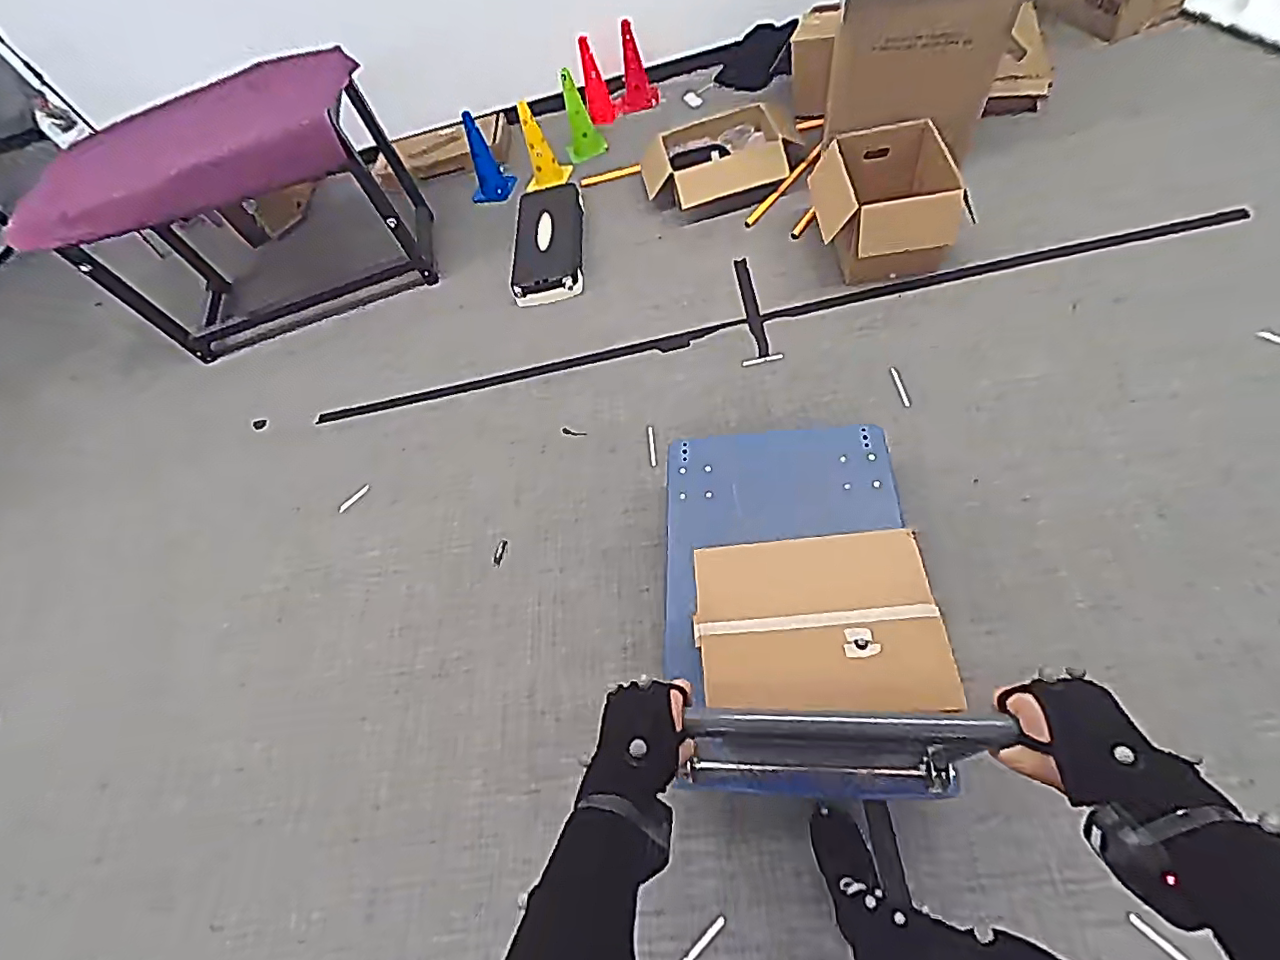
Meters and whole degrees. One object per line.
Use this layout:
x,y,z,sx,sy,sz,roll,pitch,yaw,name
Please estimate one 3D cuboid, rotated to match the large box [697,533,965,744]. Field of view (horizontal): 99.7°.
0.336,0.329,1.073,0.408,0.320,0.320,-7,60,8,large box
